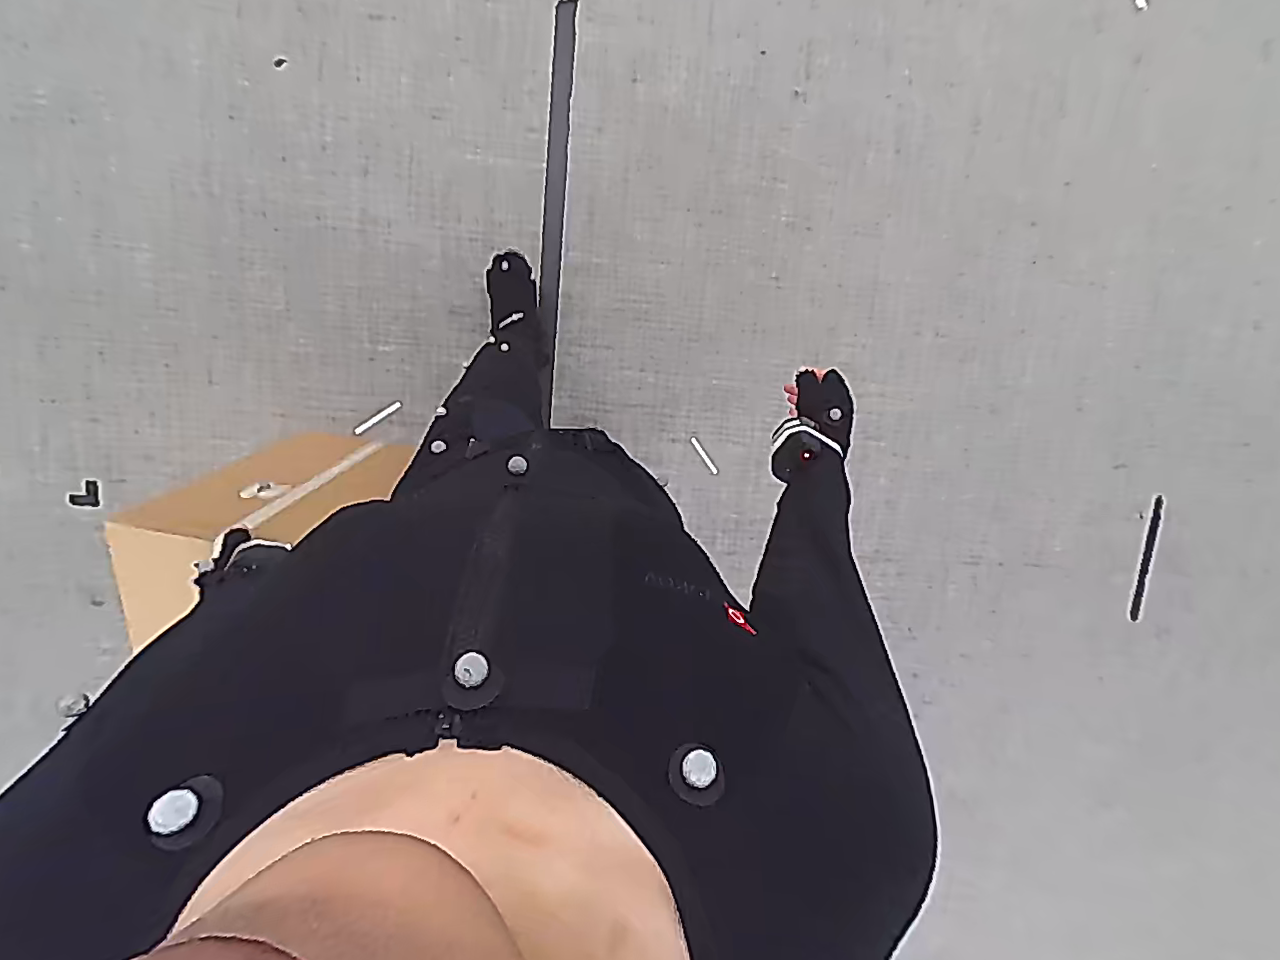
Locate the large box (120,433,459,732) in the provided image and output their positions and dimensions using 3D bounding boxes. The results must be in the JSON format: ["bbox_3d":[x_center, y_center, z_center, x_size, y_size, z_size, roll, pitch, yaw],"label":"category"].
[{"bbox_3d":[-0.541,0.145,0.938,0.320,0.408,0.320,10,112,1],"label":"large box"}]
